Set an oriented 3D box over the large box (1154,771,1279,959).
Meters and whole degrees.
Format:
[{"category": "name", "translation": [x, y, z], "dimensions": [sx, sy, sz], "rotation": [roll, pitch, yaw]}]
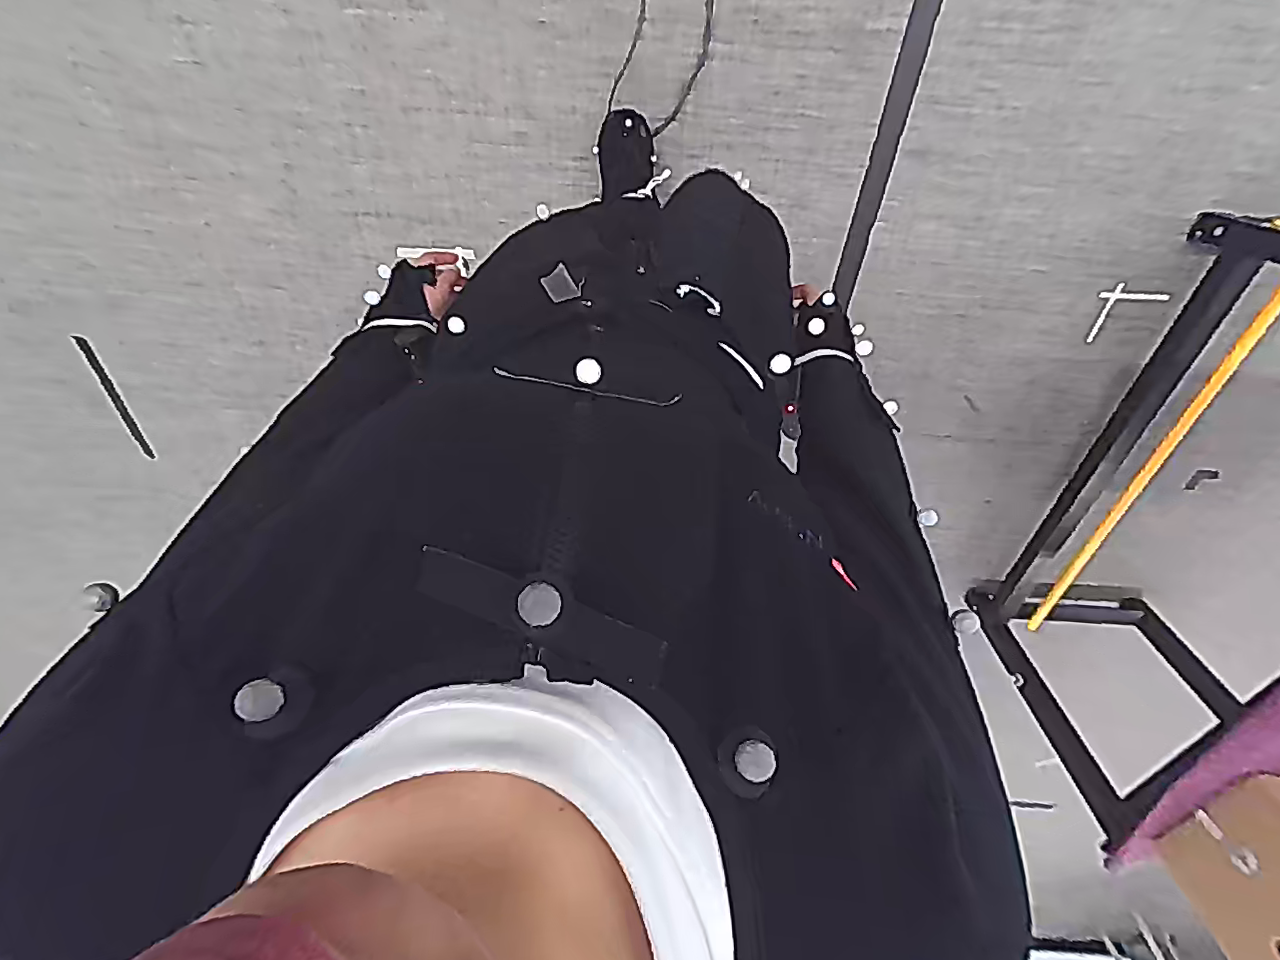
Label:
[{"category": "large box", "translation": [1.294, 0.749, 0.955], "dimensions": [0.408, 0.320, 0.320], "rotation": [3, 127, -1]}]
